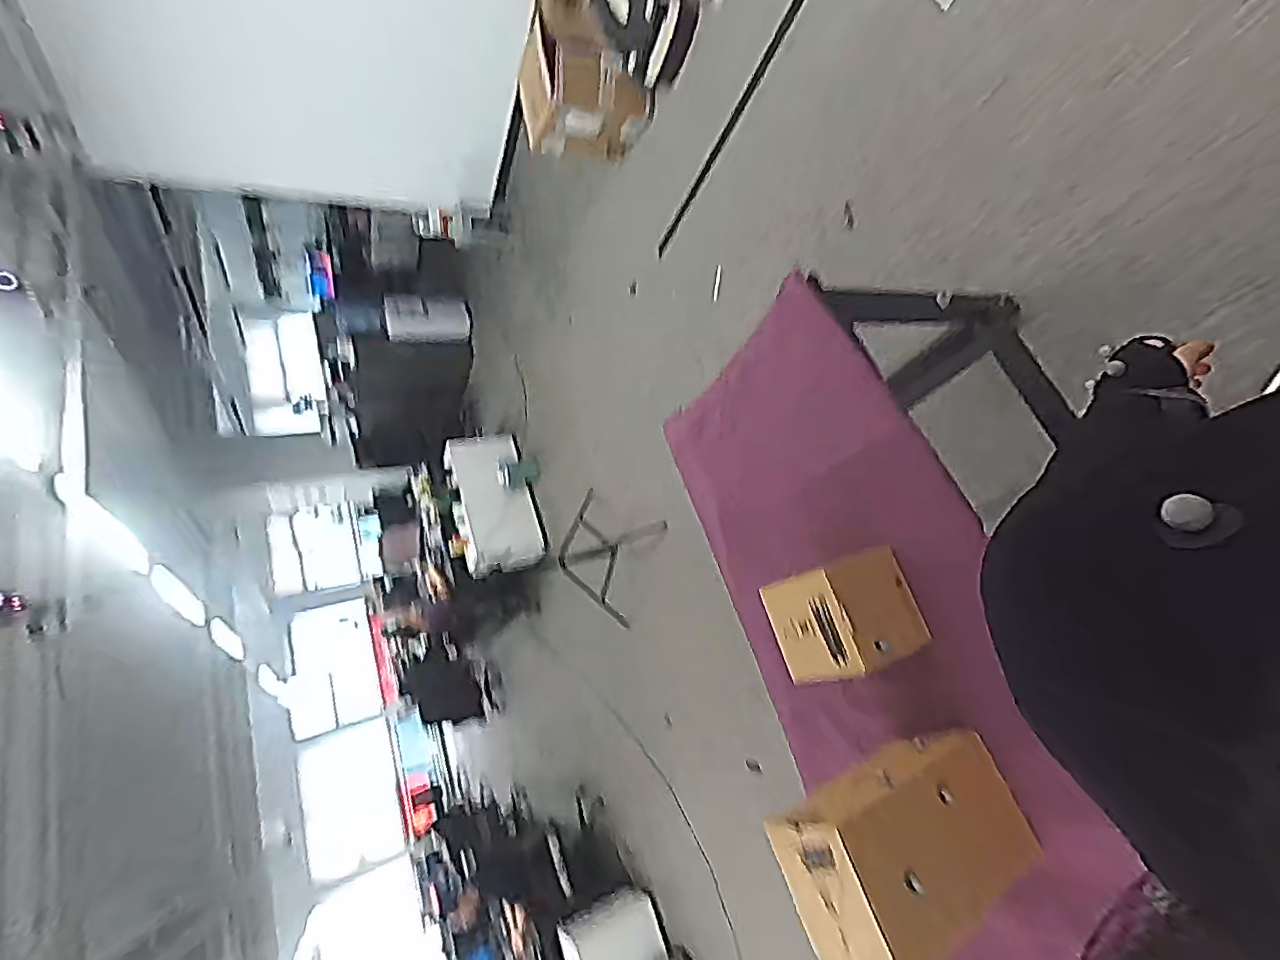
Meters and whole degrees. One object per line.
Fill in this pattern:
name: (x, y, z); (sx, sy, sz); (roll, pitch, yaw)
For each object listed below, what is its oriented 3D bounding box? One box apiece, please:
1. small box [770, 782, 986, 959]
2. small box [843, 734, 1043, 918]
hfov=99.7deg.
small box: (0.321, 0.536, 0.744); (0.168, 0.176, 0.179); (-53, 53, 52)
small box: (0.460, 0.517, 0.829); (0.168, 0.176, 0.179); (-53, 53, 52)
